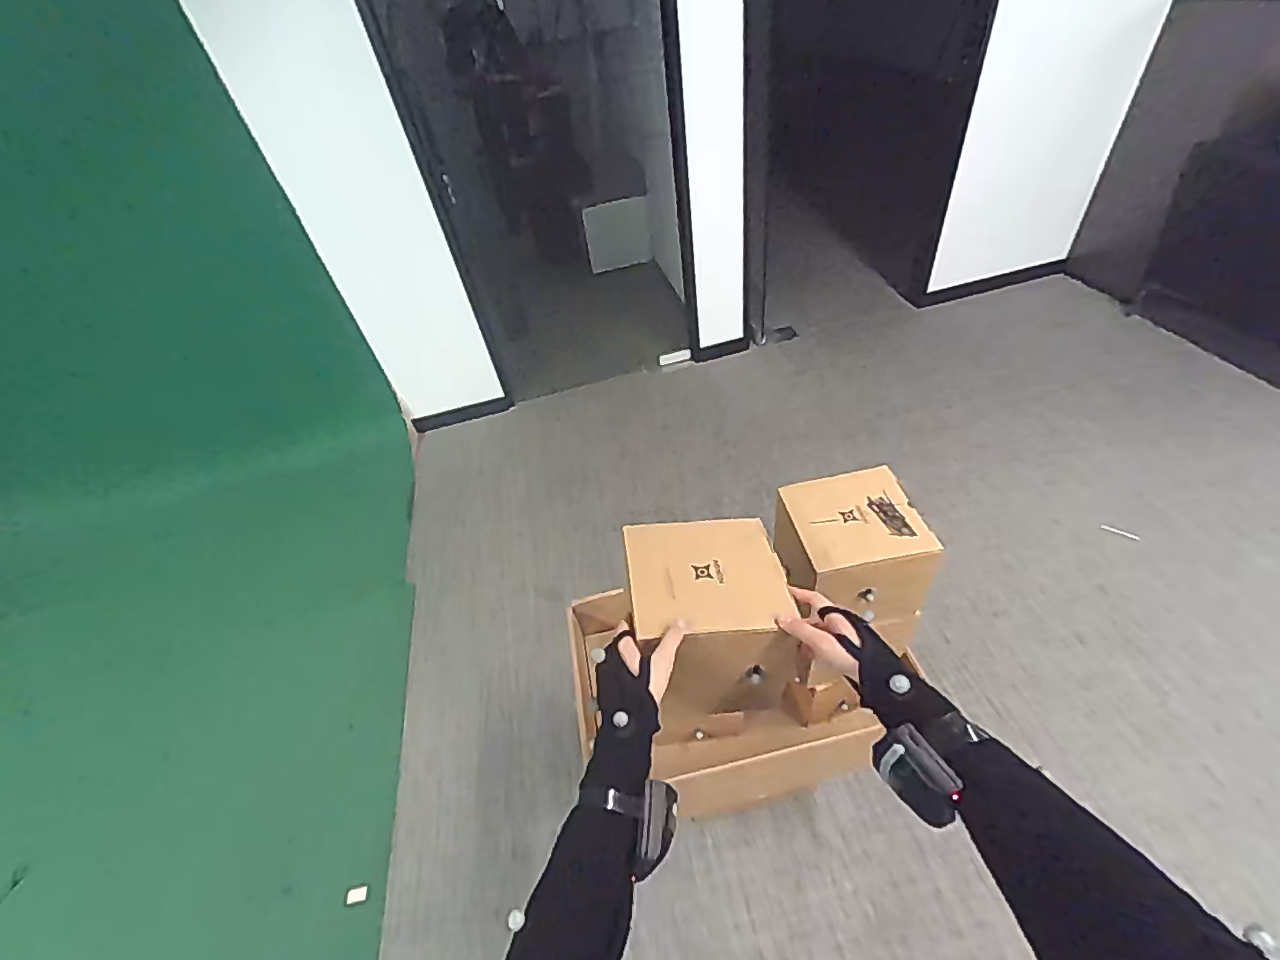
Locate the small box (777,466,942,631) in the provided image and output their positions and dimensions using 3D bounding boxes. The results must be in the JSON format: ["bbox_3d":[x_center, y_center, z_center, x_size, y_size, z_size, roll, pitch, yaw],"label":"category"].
[{"bbox_3d":[0.315,0.107,0.823,0.179,0.176,0.168,-11,45,0],"label":"small box"}]

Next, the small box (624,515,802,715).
[{"bbox_3d":[0.072,0.161,0.651,0.179,0.176,0.168,-3,39,-4],"label":"small box"}]
